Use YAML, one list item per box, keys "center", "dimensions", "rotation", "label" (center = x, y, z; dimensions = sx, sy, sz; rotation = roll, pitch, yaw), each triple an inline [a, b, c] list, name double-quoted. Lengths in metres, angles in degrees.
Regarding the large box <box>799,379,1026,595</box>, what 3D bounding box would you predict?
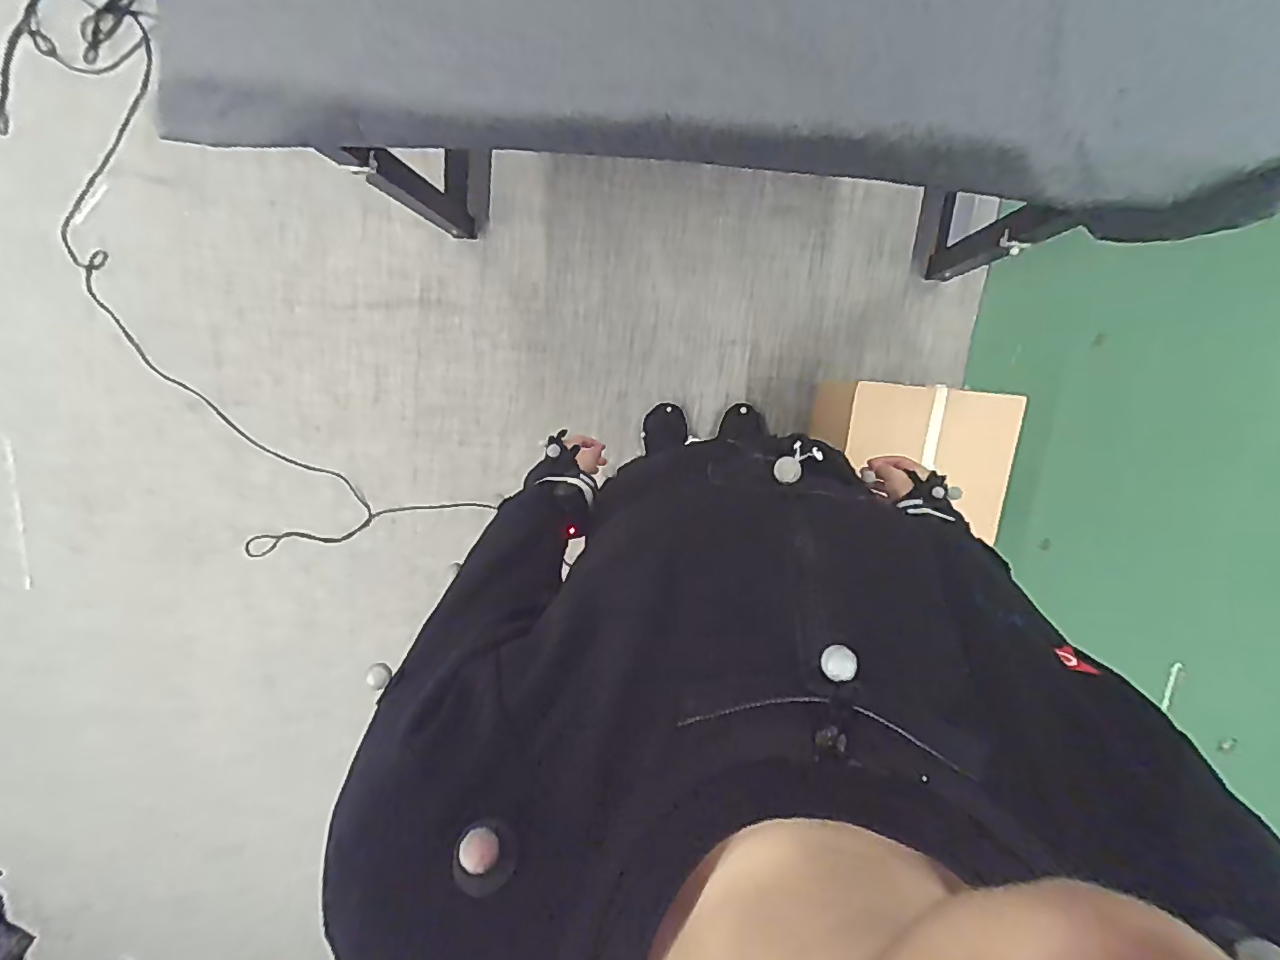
- center: [0.555, -0.009, 1.180]
  dimensions: [0.320, 0.320, 0.408]
  rotation: [6, 101, 4]
  label: "large box"
